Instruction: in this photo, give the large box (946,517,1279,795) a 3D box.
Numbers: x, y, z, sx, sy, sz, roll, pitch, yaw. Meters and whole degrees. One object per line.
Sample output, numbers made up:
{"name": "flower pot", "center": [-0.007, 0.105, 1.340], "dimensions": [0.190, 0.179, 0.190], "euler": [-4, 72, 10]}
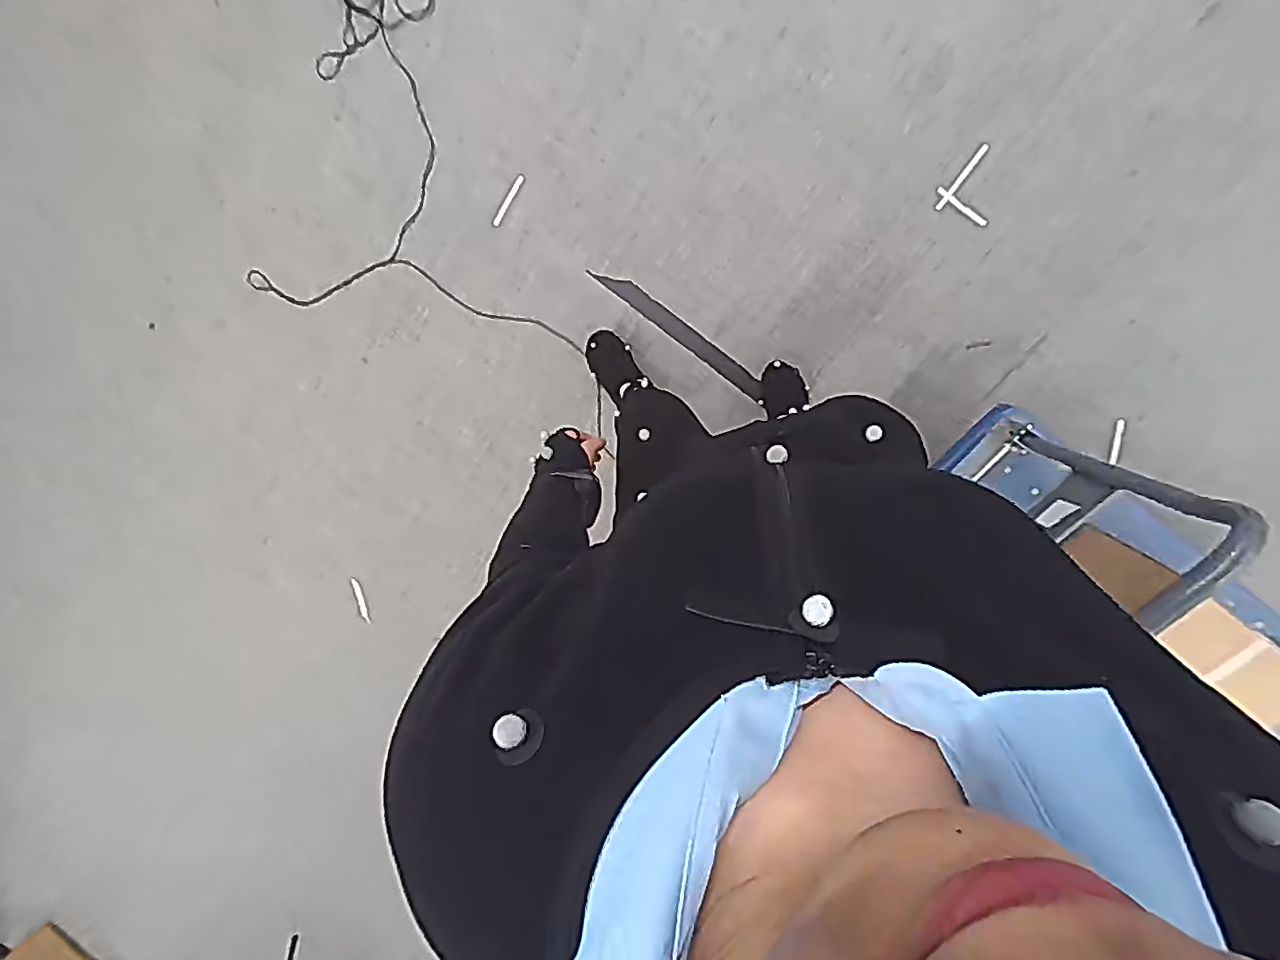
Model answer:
{"name": "large box", "center": [0.969, 0.355, 1.160], "dimensions": [0.320, 0.320, 0.408], "euler": [37, 107, -3]}
